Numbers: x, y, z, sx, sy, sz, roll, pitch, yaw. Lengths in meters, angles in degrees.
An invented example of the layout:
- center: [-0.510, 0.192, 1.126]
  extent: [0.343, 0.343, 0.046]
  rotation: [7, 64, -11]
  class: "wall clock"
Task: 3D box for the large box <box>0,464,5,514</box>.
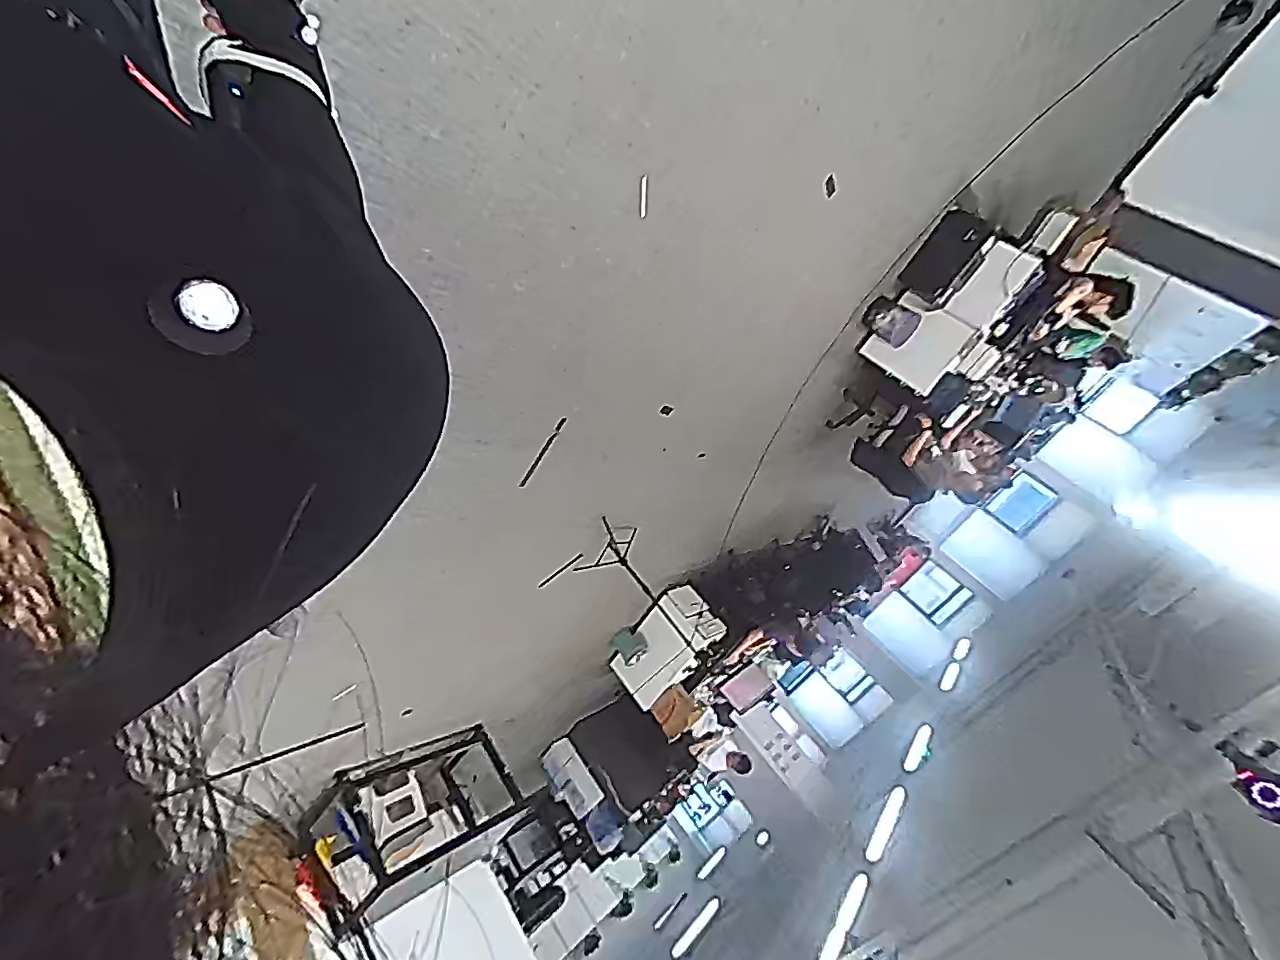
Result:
- center: [-1.483, 0.037, 0.957]
  extent: [0.320, 0.320, 0.408]
  rotation: [-51, 152, 15]
  class: "large box"
